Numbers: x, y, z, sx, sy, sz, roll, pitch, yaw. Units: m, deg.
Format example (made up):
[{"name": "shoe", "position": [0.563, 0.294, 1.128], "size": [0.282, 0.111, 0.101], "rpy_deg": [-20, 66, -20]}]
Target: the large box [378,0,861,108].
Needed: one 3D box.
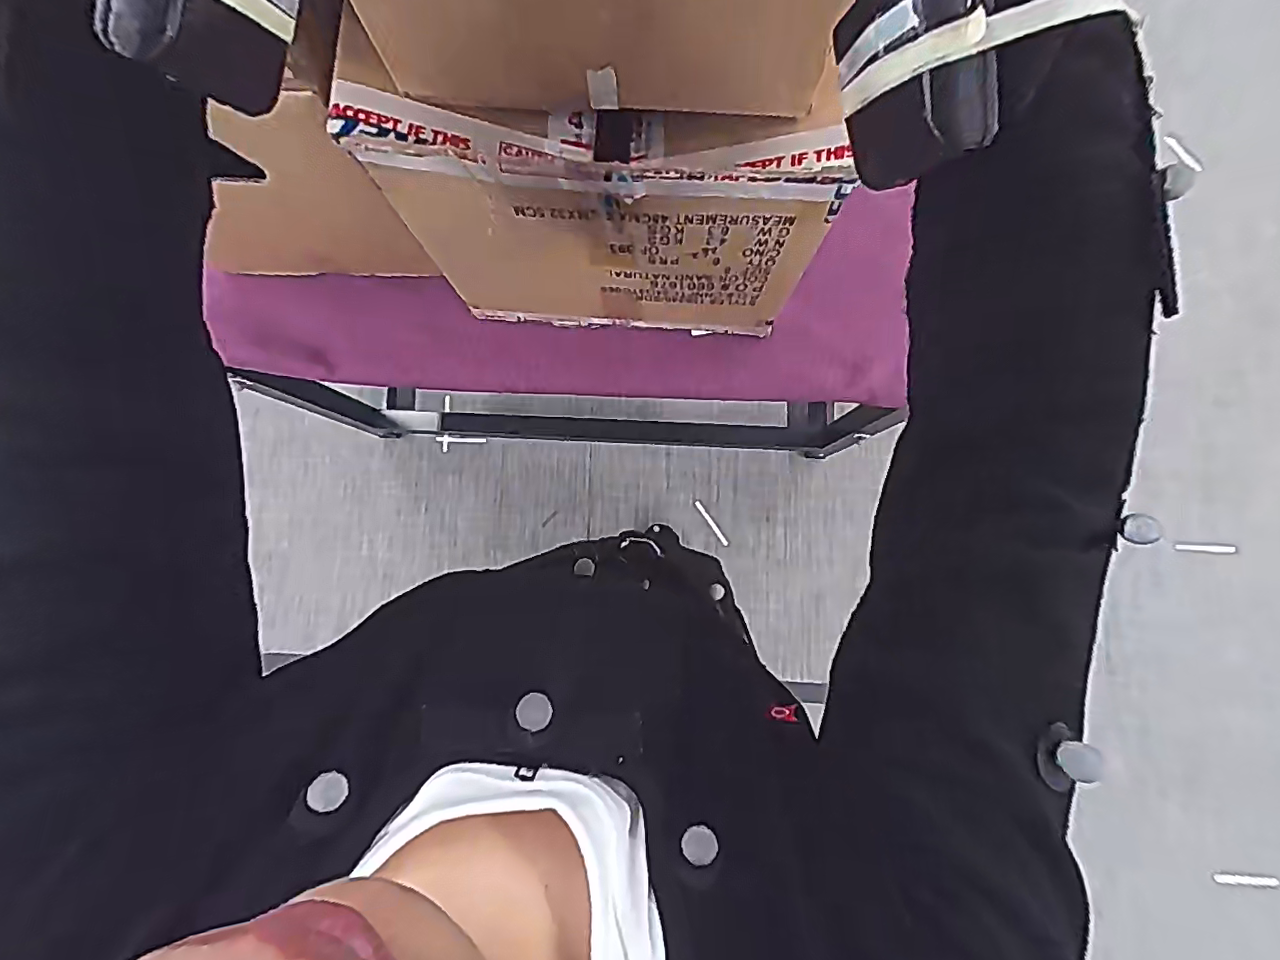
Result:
[{"name": "large box", "position": [-0.008, -0.495, 0.275], "size": [0.320, 0.320, 0.408], "rpy_deg": [2, 85, 1]}]
